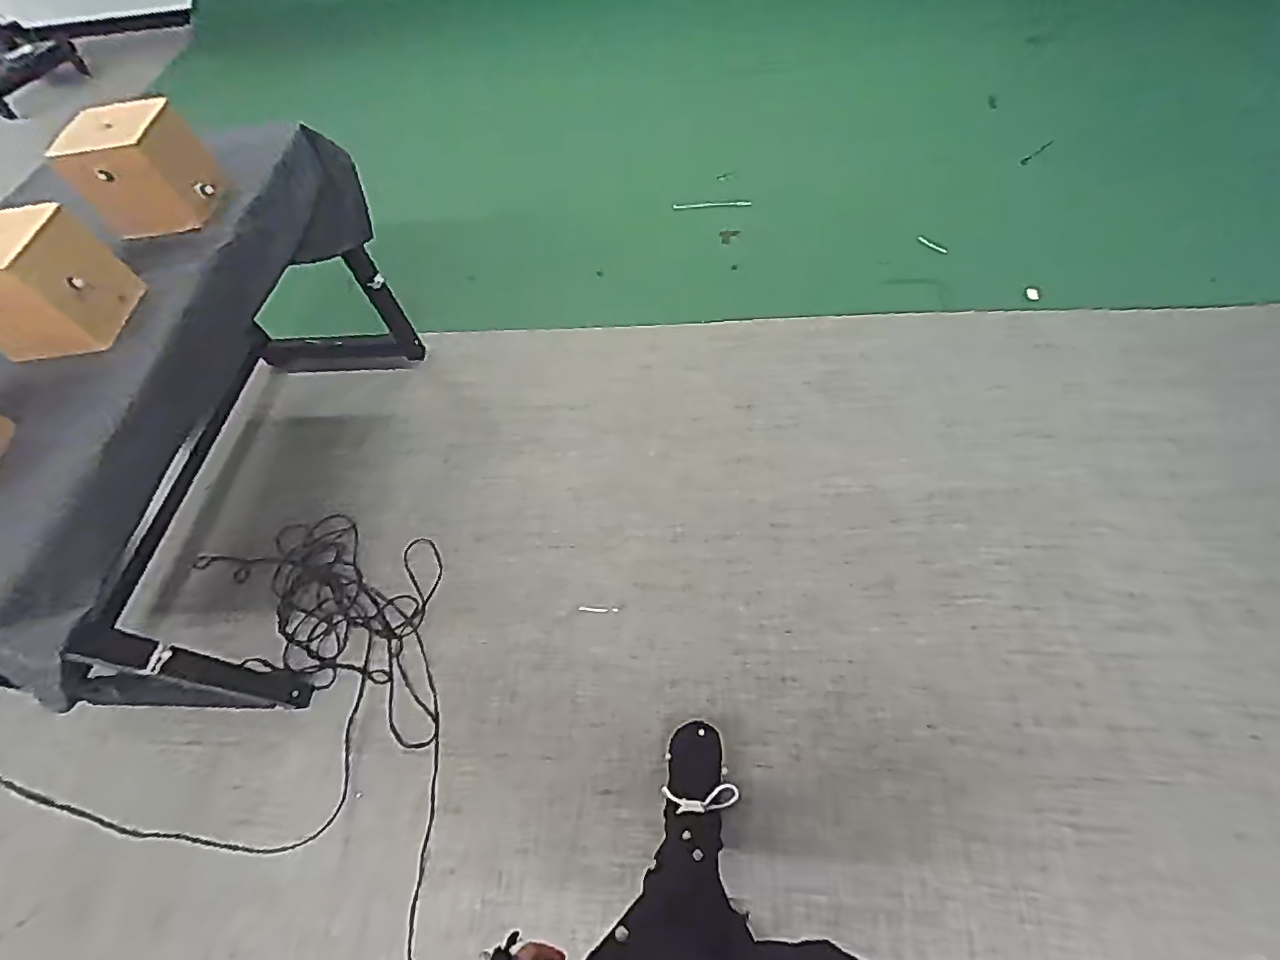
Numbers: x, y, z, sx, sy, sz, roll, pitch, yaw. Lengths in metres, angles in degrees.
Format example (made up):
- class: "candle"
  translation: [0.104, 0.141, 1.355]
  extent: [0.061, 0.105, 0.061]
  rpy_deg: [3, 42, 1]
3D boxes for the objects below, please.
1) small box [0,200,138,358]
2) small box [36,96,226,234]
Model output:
- class: "small box"
  translation: [-0.992, -0.321, 0.881]
  extent: [0.179, 0.176, 0.168]
  rpy_deg: [-6, 59, 3]
- class: "small box"
  translation: [-0.965, -0.600, 1.045]
  extent: [0.179, 0.176, 0.168]
  rpy_deg: [-7, 60, 1]
